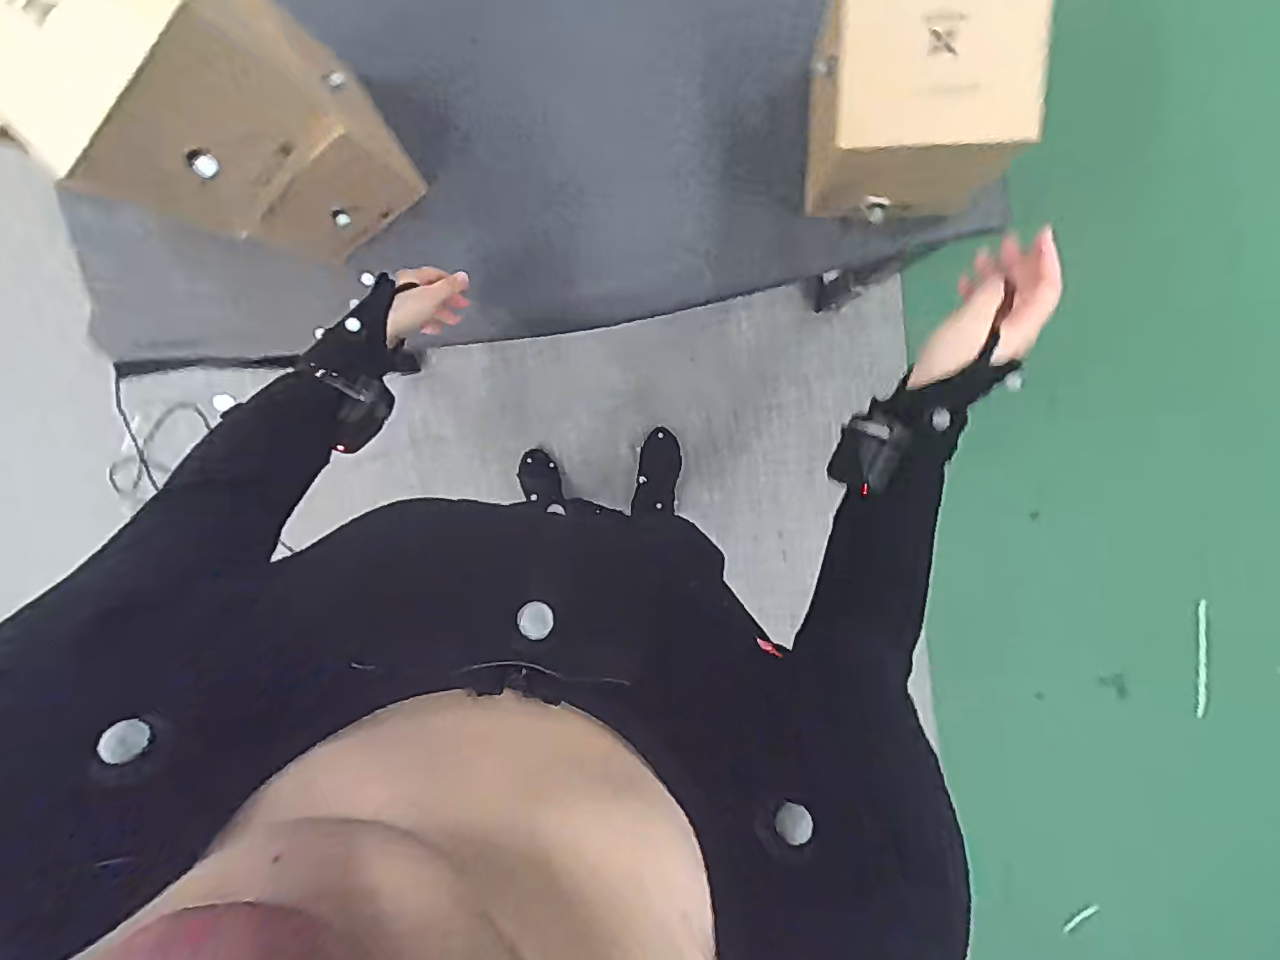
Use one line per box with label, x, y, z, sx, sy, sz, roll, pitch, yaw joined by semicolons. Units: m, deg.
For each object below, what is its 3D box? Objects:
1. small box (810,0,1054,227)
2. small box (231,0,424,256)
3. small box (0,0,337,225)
small box;0.270;-0.374;0.539;0.168;0.176;0.179;3;96;8
small box;-0.388;-0.382;0.621;0.168;0.176;0.179;-31;94;10
small box;-0.412;-0.350;0.464;0.168;0.176;0.179;-43;92;11
